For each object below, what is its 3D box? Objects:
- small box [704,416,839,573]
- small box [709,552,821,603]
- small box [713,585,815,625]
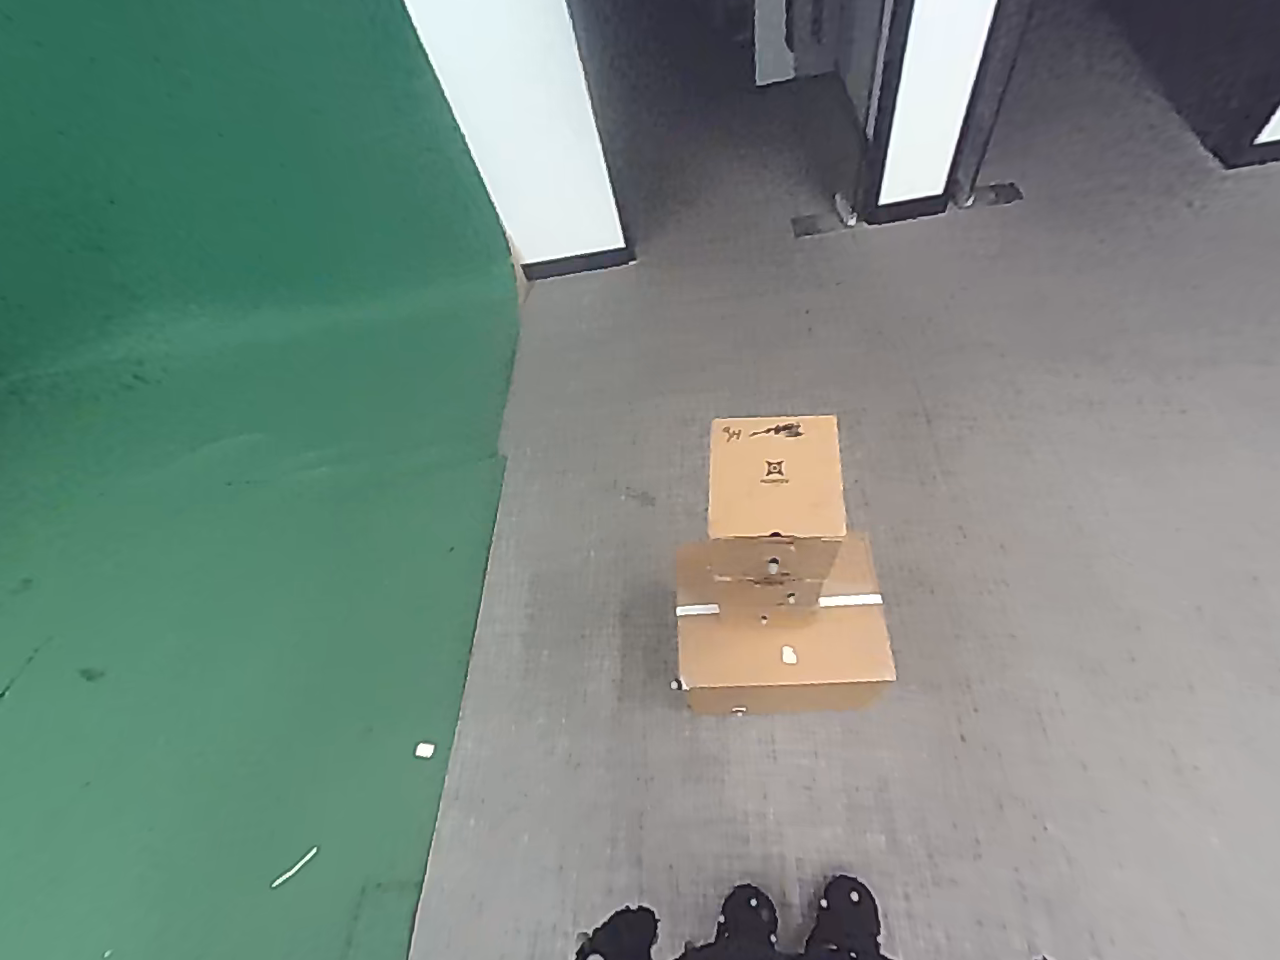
[{"bbox_3d":[0.183,0.027,0.768,0.168,0.176,0.179,0,64,11],"label":"small box"},{"bbox_3d":[0.205,0.104,0.911,0.168,0.176,0.179,-2,62,10],"label":"small box"},{"bbox_3d":[0.239,0.178,1.048,0.179,0.176,0.168,1,63,13],"label":"small box"}]
